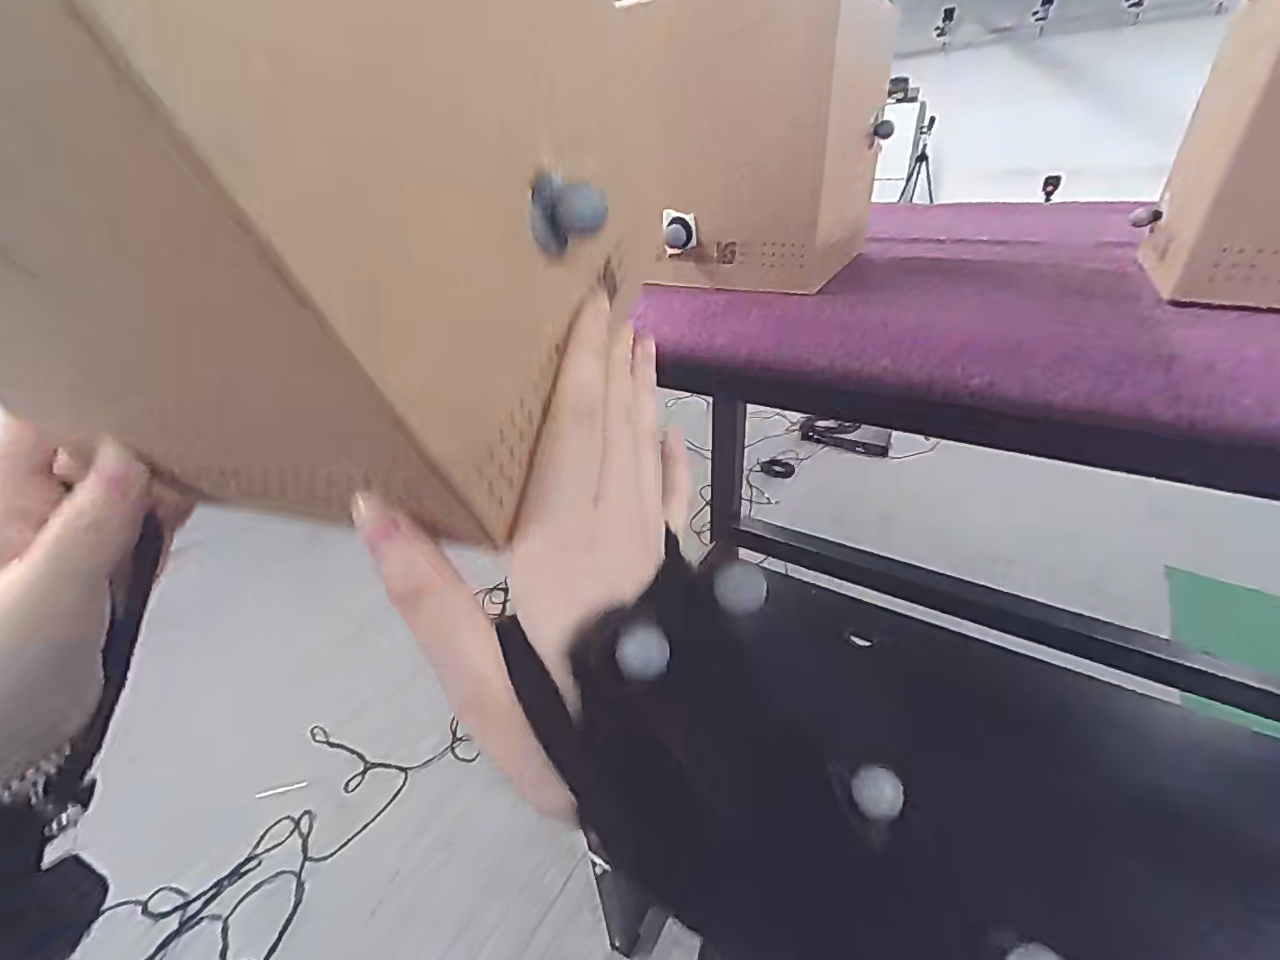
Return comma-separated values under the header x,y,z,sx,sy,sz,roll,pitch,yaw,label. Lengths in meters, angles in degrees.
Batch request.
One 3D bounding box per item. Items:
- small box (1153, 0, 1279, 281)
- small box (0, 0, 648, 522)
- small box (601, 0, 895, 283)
x,y,z,sx,sy,sz,roll,pitch,yaw,label
0.389,-0.191,0.257,0.179,0.176,0.168,17,36,29,small box
-0.114,-0.103,0.161,0.179,0.176,0.168,5,53,20,small box
0.076,-0.255,0.400,0.168,0.176,0.179,12,37,27,small box
